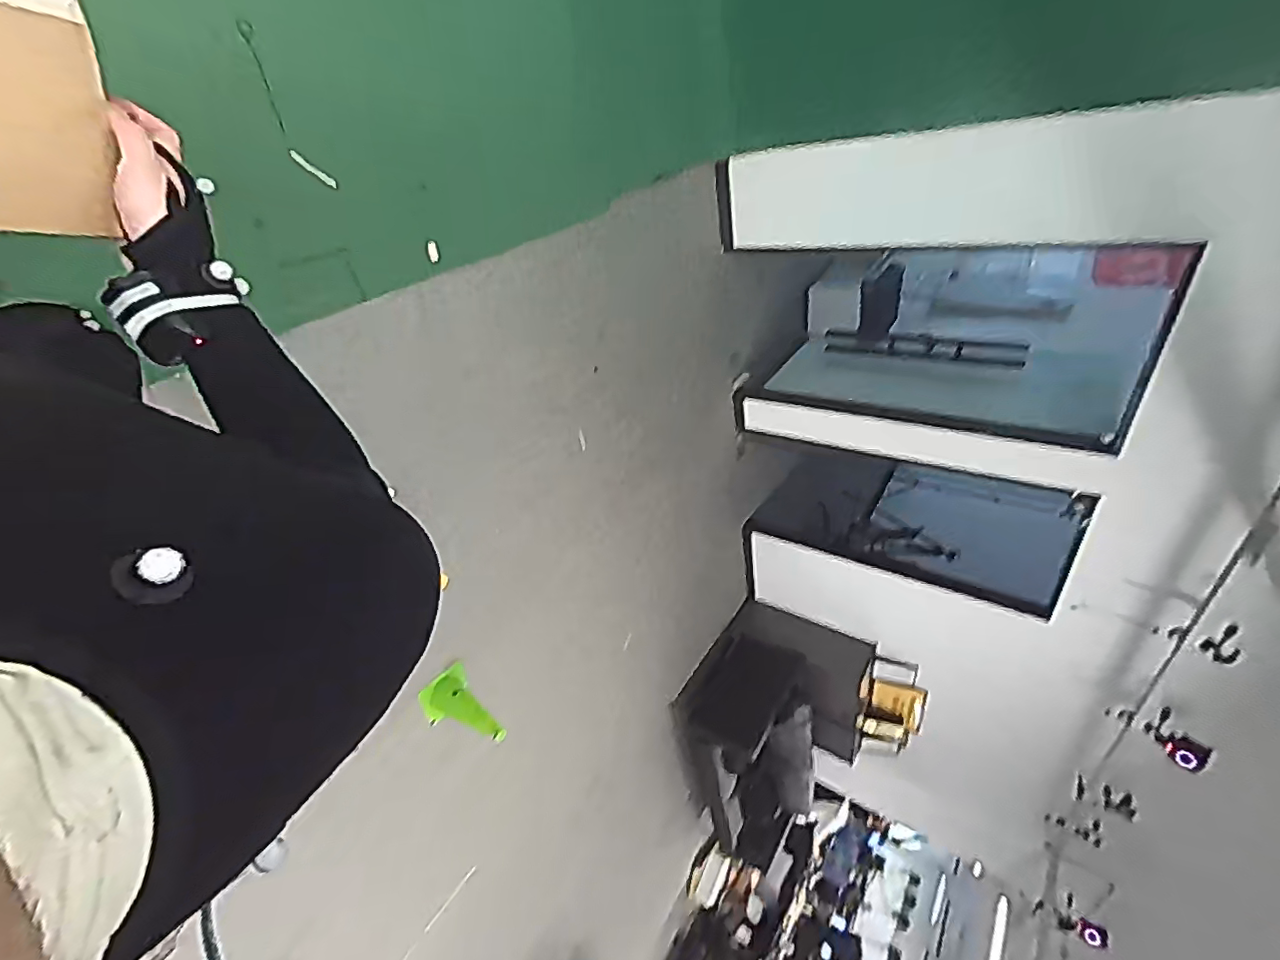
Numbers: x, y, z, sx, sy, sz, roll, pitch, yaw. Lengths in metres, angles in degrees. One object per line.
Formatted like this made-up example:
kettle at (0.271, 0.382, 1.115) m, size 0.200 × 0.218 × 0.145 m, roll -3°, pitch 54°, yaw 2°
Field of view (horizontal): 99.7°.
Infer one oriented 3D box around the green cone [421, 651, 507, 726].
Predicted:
green cone at (-0.654, 0.867, 2.131) m, size 0.200 × 0.368 × 0.202 m, roll -39°, pitch 132°, yaw -42°
